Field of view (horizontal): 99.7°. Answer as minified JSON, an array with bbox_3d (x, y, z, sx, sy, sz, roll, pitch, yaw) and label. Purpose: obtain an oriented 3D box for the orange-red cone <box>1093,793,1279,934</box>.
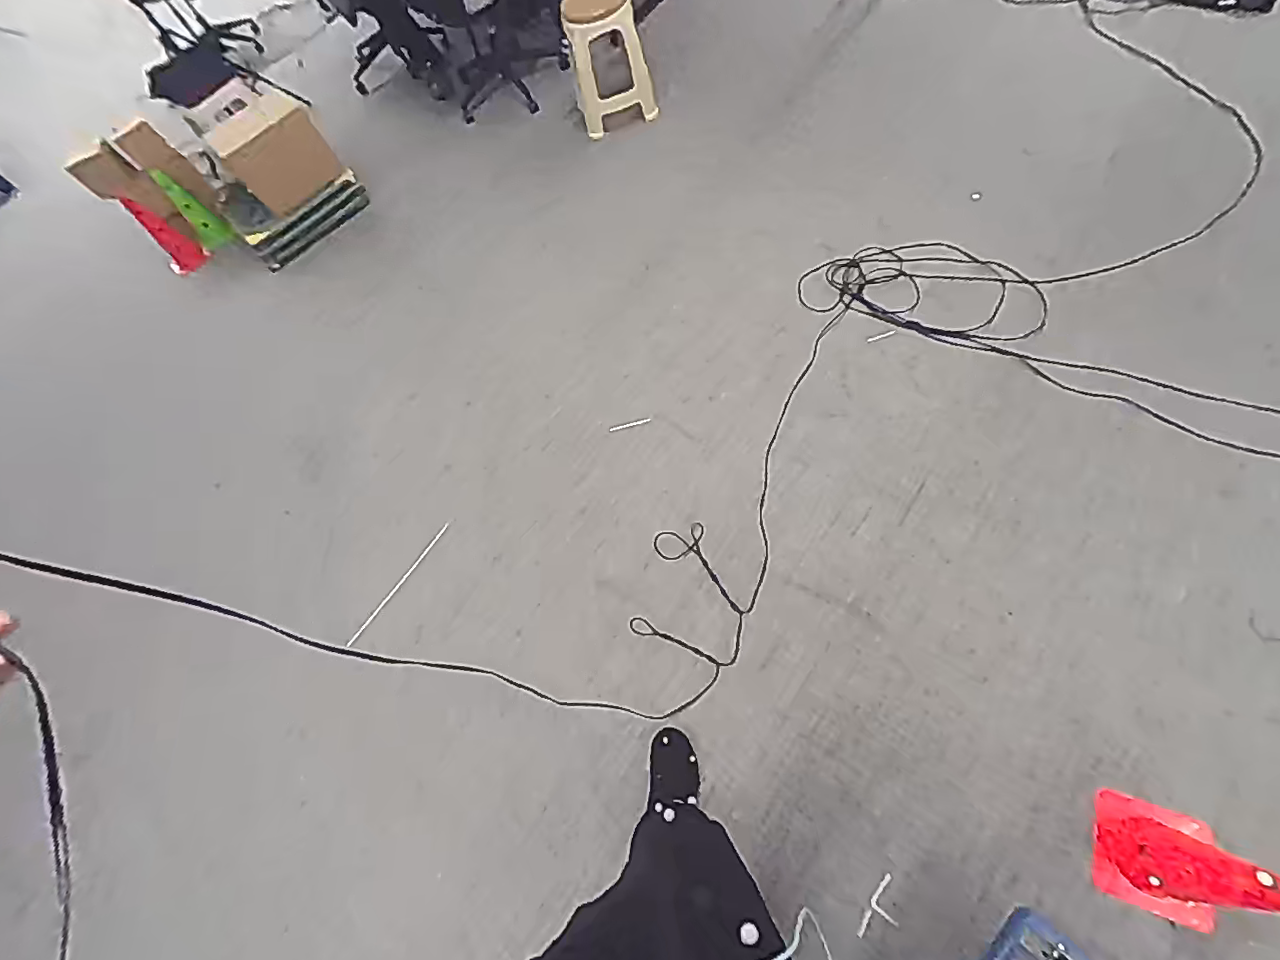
[{"bbox_3d":[1.019,0.704,0.958,0.198,0.360,0.199,16,68,19],"label":"orange-red cone"}]
